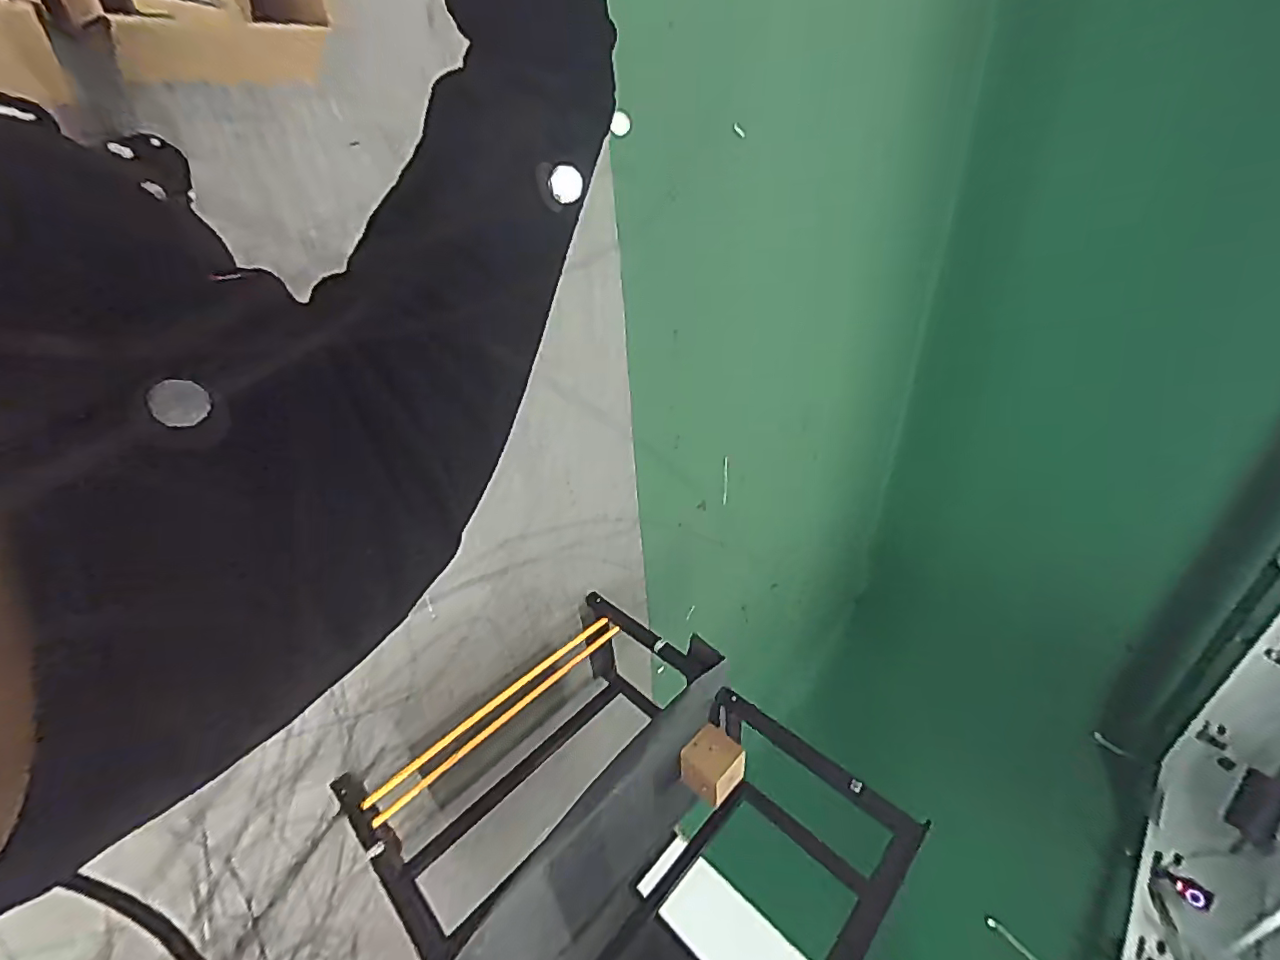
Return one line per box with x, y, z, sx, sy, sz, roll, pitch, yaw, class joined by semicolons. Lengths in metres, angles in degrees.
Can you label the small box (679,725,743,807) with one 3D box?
0.255;1.032;1.970;0.168;0.176;0.179;-29;130;-36;small box
